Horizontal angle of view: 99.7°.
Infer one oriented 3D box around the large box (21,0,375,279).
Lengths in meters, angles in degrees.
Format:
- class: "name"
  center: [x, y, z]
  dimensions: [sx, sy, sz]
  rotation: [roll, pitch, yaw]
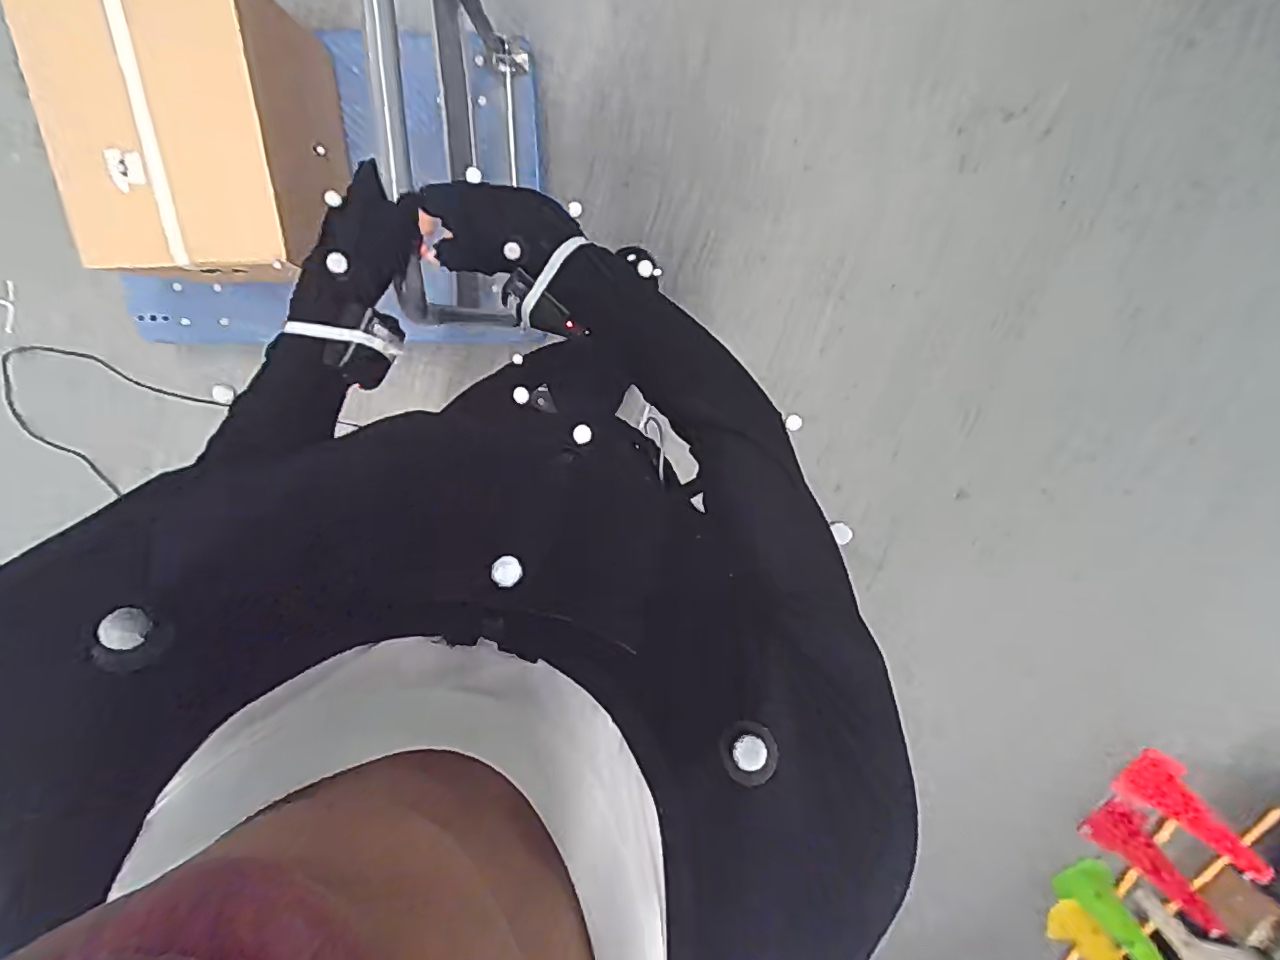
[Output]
- class: "large box"
  center: [-0.709, -0.579, 0.944]
  dimensions: [0.320, 0.320, 0.408]
  rotation: [-3, 107, -2]
